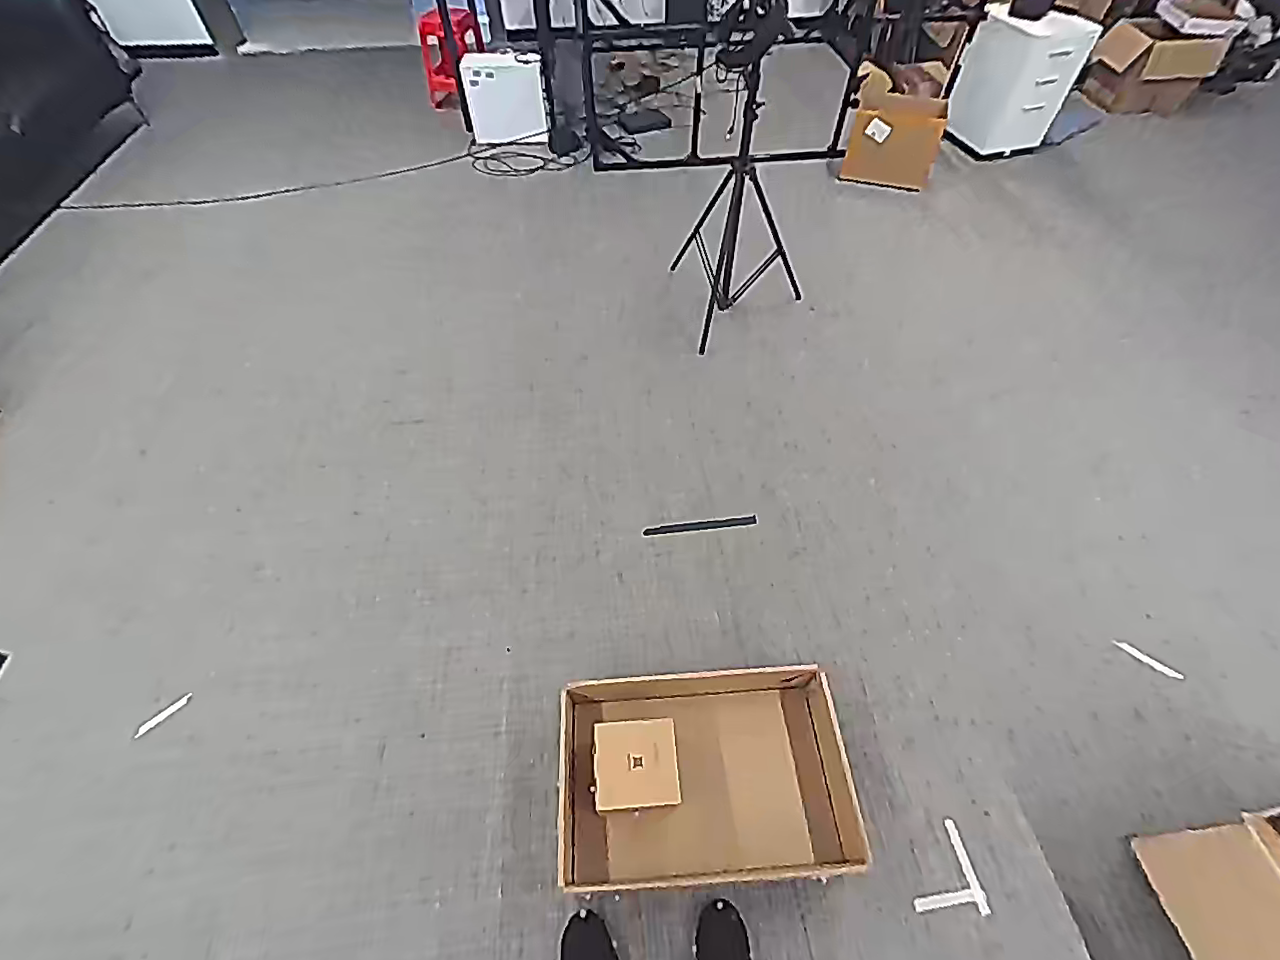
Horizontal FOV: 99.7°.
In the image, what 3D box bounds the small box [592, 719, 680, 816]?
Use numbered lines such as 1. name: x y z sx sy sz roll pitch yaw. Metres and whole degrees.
1. small box: -0.011 0.641 1.202 0.179 0.176 0.168 -3 56 -4
